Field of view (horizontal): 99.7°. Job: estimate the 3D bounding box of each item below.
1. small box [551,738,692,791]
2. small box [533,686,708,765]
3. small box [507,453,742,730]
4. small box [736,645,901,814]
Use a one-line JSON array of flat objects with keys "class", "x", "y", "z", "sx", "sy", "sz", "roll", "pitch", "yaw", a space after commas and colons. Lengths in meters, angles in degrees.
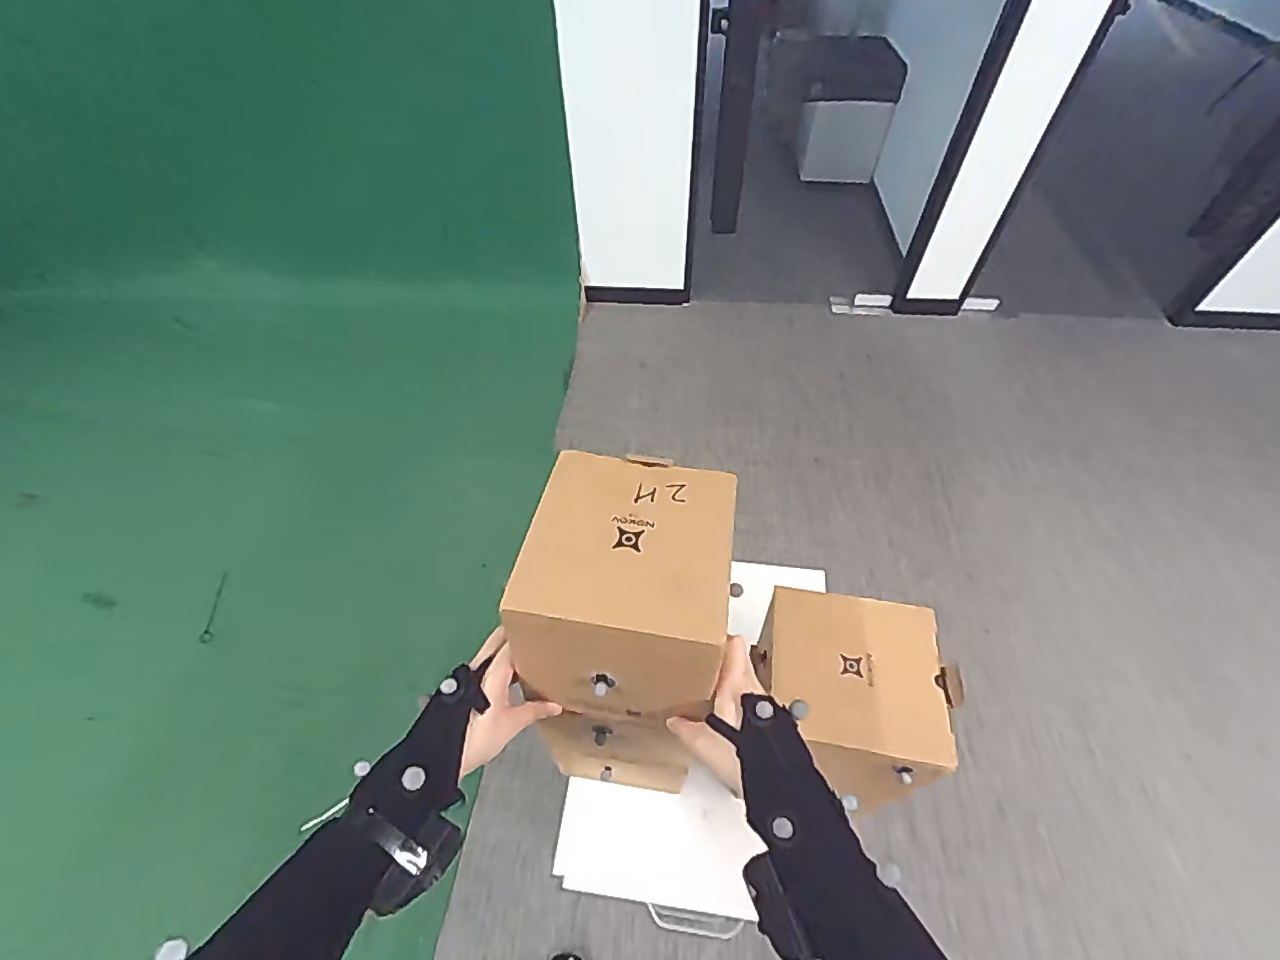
[{"class": "small box", "x": -0.011, "y": 0.327, "z": 0.765, "sx": 0.179, "sy": 0.176, "sz": 0.168, "roll": 7, "pitch": 53, "yaw": 5}, {"class": "small box", "x": -0.011, "y": 0.222, "z": 0.637, "sx": 0.179, "sy": 0.176, "sz": 0.168, "roll": 7, "pitch": 53, "yaw": 4}, {"class": "small box", "x": -0.005, "y": 0.103, "z": 0.495, "sx": 0.168, "sy": 0.176, "sz": 0.179, "roll": 9, "pitch": 45, "yaw": 5}, {"class": "small box", "x": 0.233, "y": 0.348, "z": 0.747, "sx": 0.179, "sy": 0.176, "sz": 0.168, "roll": 5, "pitch": 52, "yaw": 7}]
